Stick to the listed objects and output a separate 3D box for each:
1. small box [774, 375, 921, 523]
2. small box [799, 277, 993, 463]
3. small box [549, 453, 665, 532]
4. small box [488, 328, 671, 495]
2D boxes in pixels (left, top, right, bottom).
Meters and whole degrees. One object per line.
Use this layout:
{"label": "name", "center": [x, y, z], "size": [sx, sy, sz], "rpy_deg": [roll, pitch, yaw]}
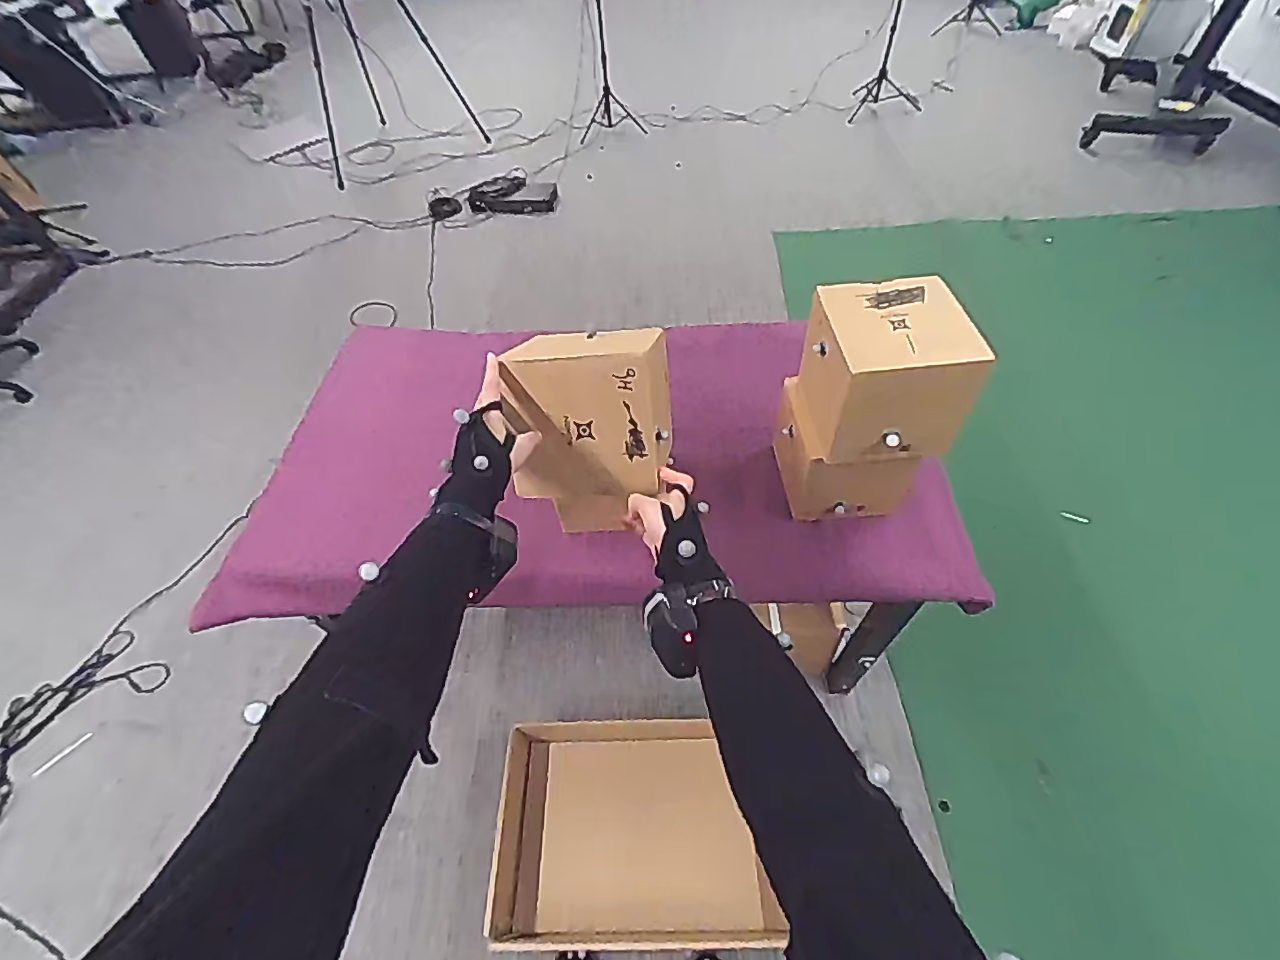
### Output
{"label": "small box", "center": [0.317, -0.053, 0.864], "size": [0.168, 0.176, 0.179], "rpy_deg": [-5, 51, 2]}
{"label": "small box", "center": [0.322, -0.145, 0.727], "size": [0.168, 0.176, 0.179], "rpy_deg": [-5, 52, 3]}
{"label": "small box", "center": [-0.049, -0.029, 0.875], "size": [0.179, 0.176, 0.168], "rpy_deg": [-3, 51, 3]}
{"label": "small box", "center": [-0.062, -0.090, 0.672], "size": [0.179, 0.168, 0.176], "rpy_deg": [-1, 24, 10]}
